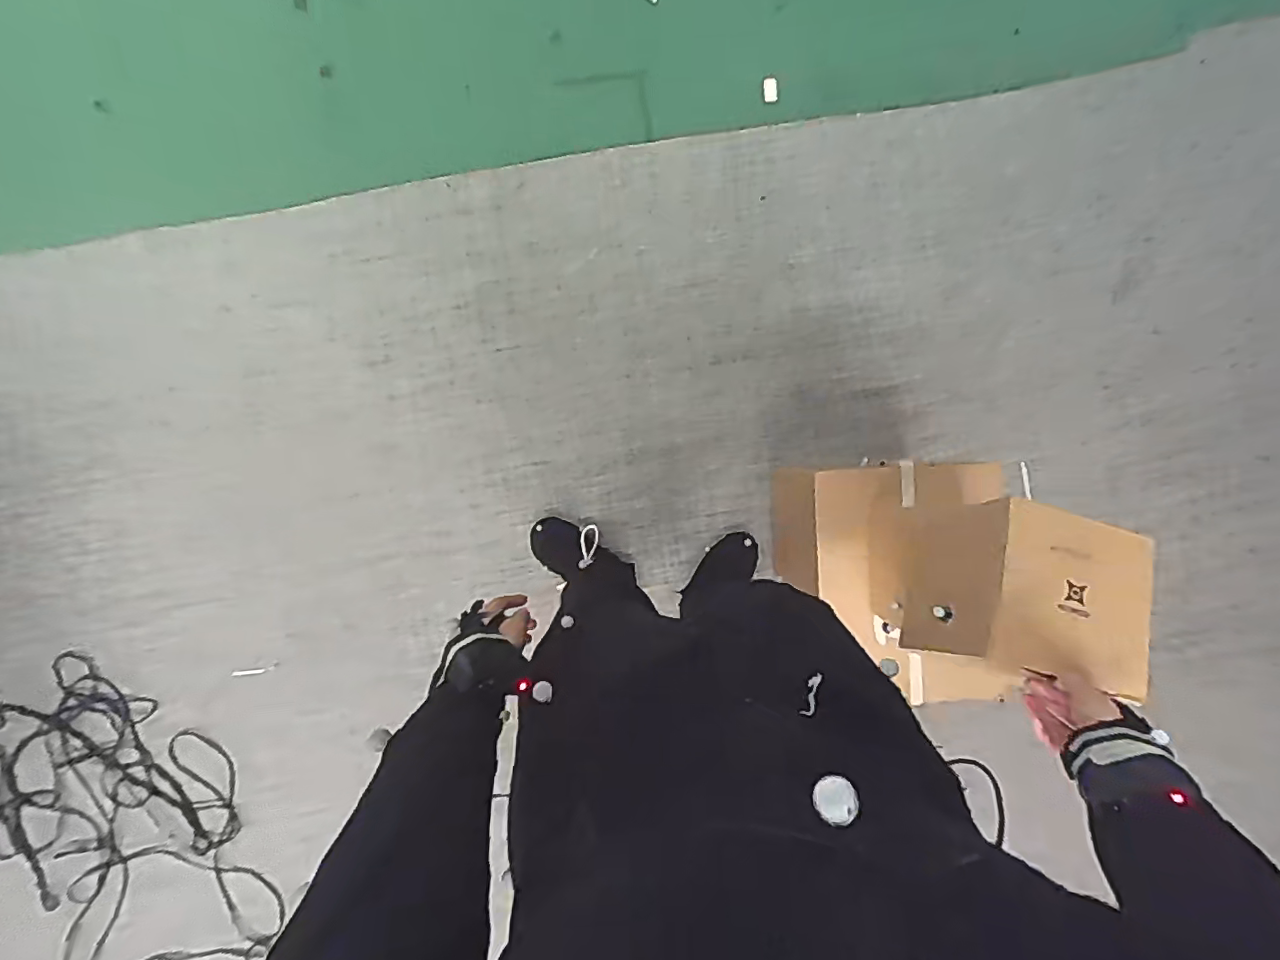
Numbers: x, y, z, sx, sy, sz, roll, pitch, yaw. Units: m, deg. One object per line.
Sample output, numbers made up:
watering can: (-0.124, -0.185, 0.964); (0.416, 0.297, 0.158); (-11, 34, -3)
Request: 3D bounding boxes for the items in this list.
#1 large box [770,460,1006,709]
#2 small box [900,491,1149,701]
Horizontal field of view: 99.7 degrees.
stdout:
large box: (0.453, 0.173, 1.055); (0.320, 0.320, 0.408); (-4, 92, 1)
small box: (0.429, 0.135, 0.627); (0.168, 0.176, 0.179); (17, 73, -1)
